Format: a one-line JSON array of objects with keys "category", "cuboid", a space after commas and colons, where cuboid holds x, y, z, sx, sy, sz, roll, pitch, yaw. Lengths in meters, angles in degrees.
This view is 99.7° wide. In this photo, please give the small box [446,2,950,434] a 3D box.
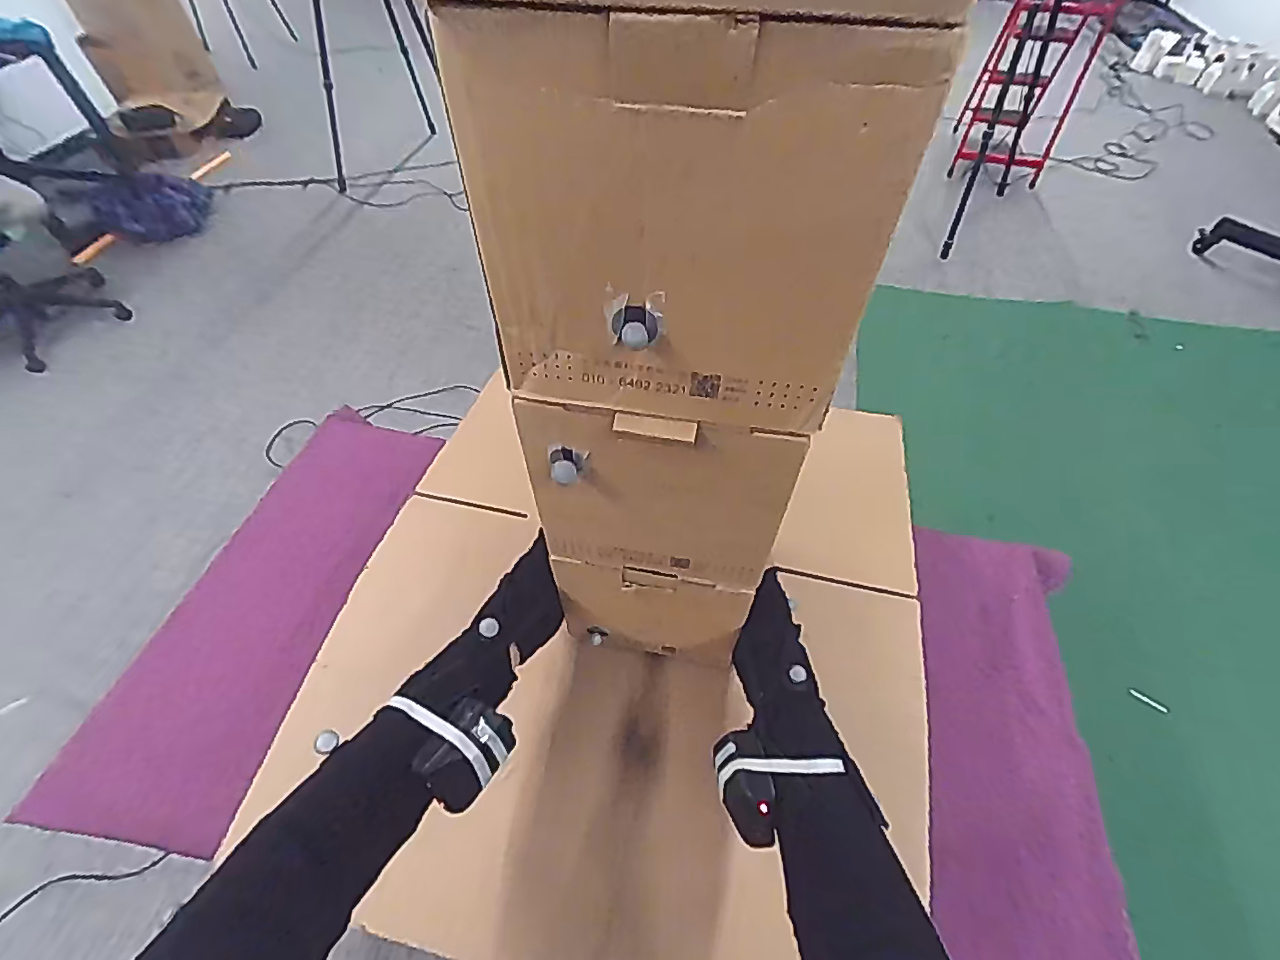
[{"category": "small box", "cuboid": [0.026, -0.151, 0.284, 0.168, 0.176, 0.179, 8, 52, 5]}]

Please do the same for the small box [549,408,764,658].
[{"category": "small box", "cuboid": [0.023, 0.057, 0.537, 0.168, 0.176, 0.179, 9, 52, 7]}]

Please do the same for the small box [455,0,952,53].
[{"category": "small box", "cuboid": [0.024, -0.253, 0.155, 0.168, 0.176, 0.179, 7, 52, 5]}]
